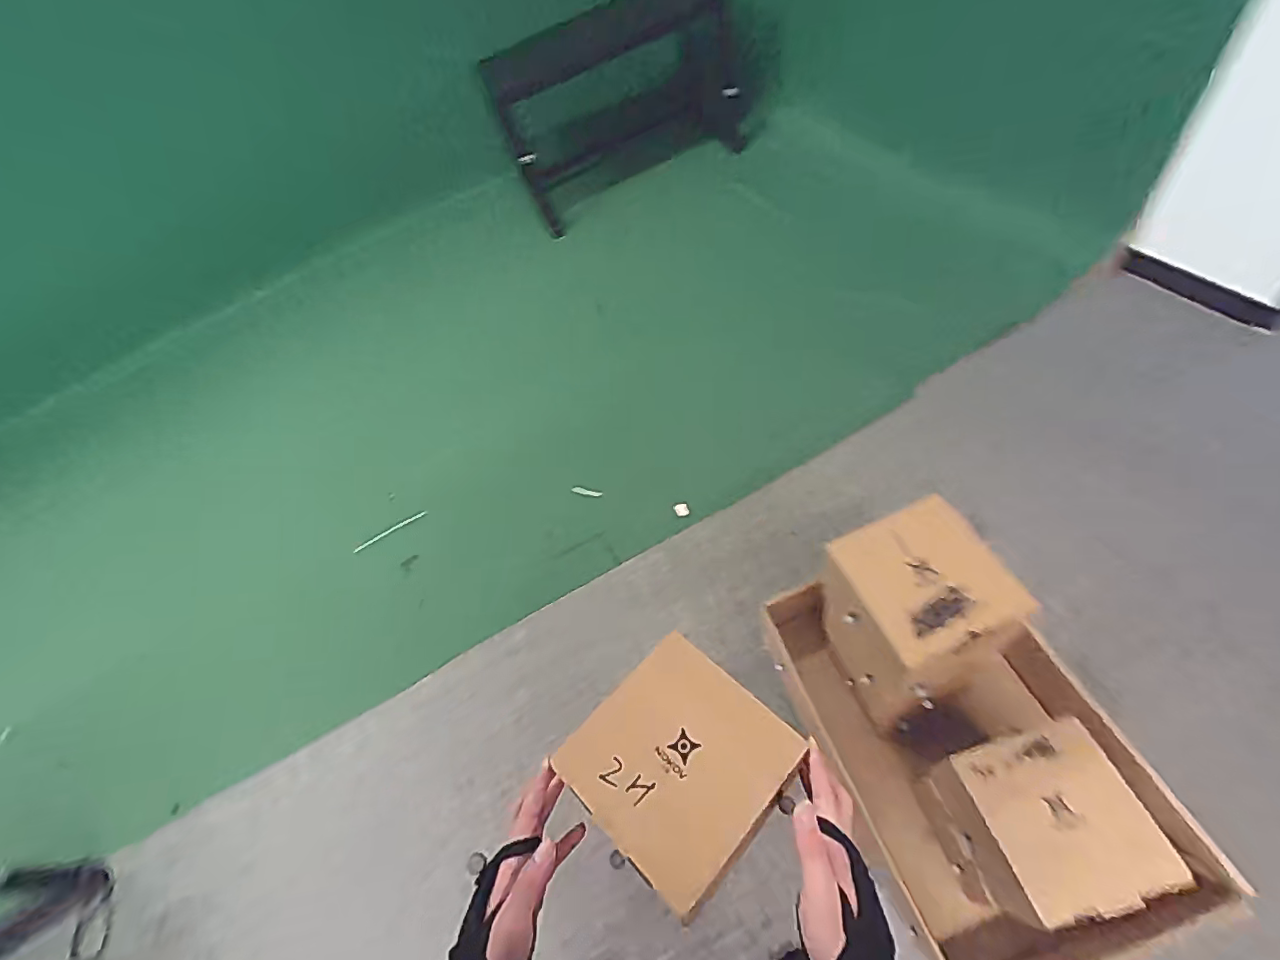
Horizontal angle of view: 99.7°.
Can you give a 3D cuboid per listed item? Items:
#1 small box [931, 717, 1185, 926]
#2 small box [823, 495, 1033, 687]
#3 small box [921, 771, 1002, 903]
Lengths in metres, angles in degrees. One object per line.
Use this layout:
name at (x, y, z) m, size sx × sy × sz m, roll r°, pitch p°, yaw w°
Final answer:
small box at (0.506, 0.429, 0.691) m, size 0.168 × 0.176 × 0.179 m, roll -21°, pitch 54°, yaw 5°
small box at (0.362, 0.157, 0.717) m, size 0.168 × 0.176 × 0.179 m, roll -25°, pitch 53°, yaw 1°
small box at (0.552, 0.516, 0.820) m, size 0.179 × 0.176 × 0.168 m, roll -21°, pitch 54°, yaw 5°
